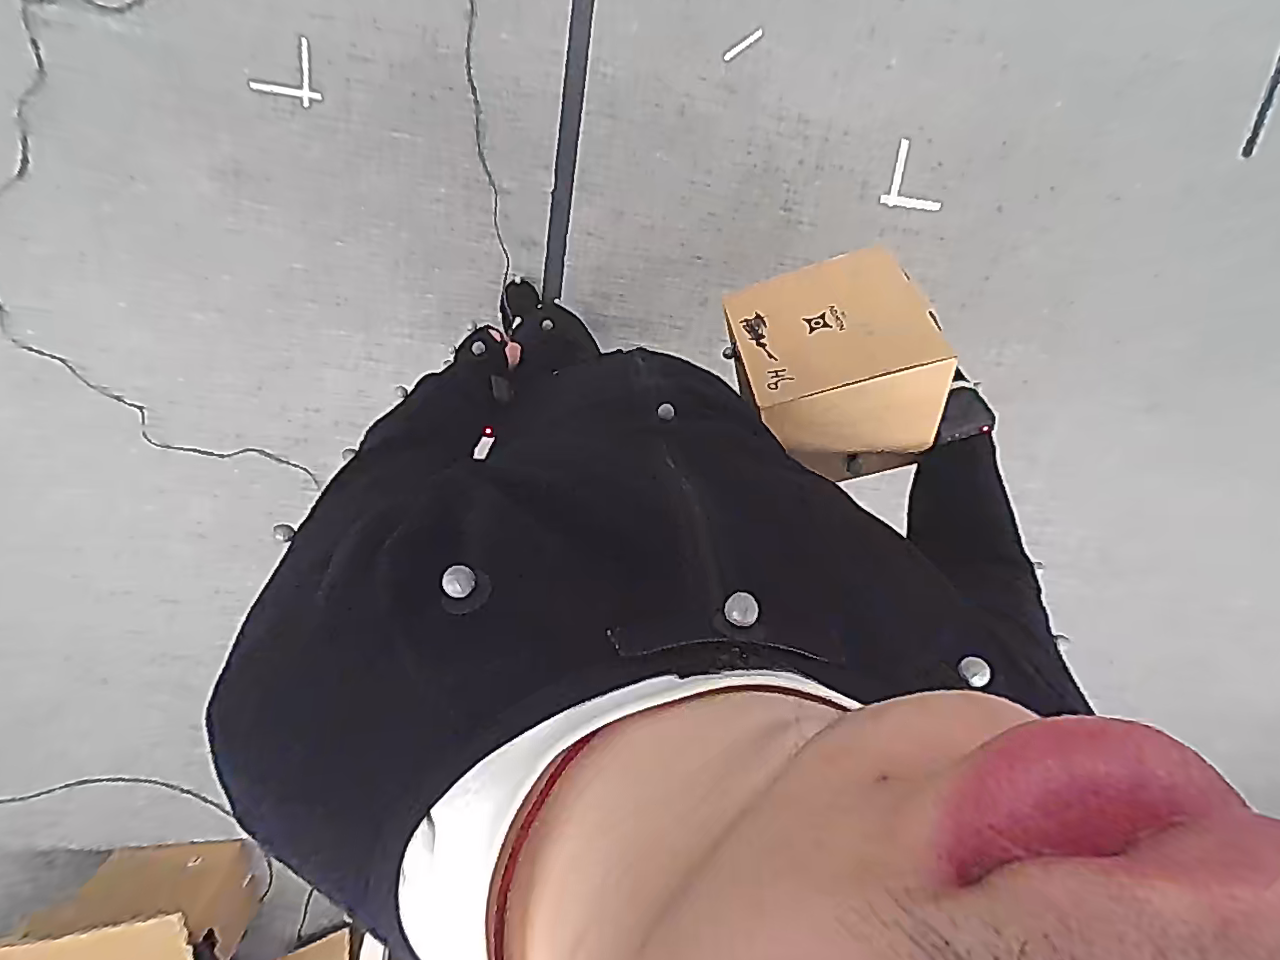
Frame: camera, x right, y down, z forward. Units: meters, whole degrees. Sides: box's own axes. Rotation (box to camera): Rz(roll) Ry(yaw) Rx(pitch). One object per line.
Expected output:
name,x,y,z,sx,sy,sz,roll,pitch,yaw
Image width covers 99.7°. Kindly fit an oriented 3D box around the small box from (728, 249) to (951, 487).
small box,0.208,-0.116,0.604,0.179,0.168,0.176,-15,145,9
